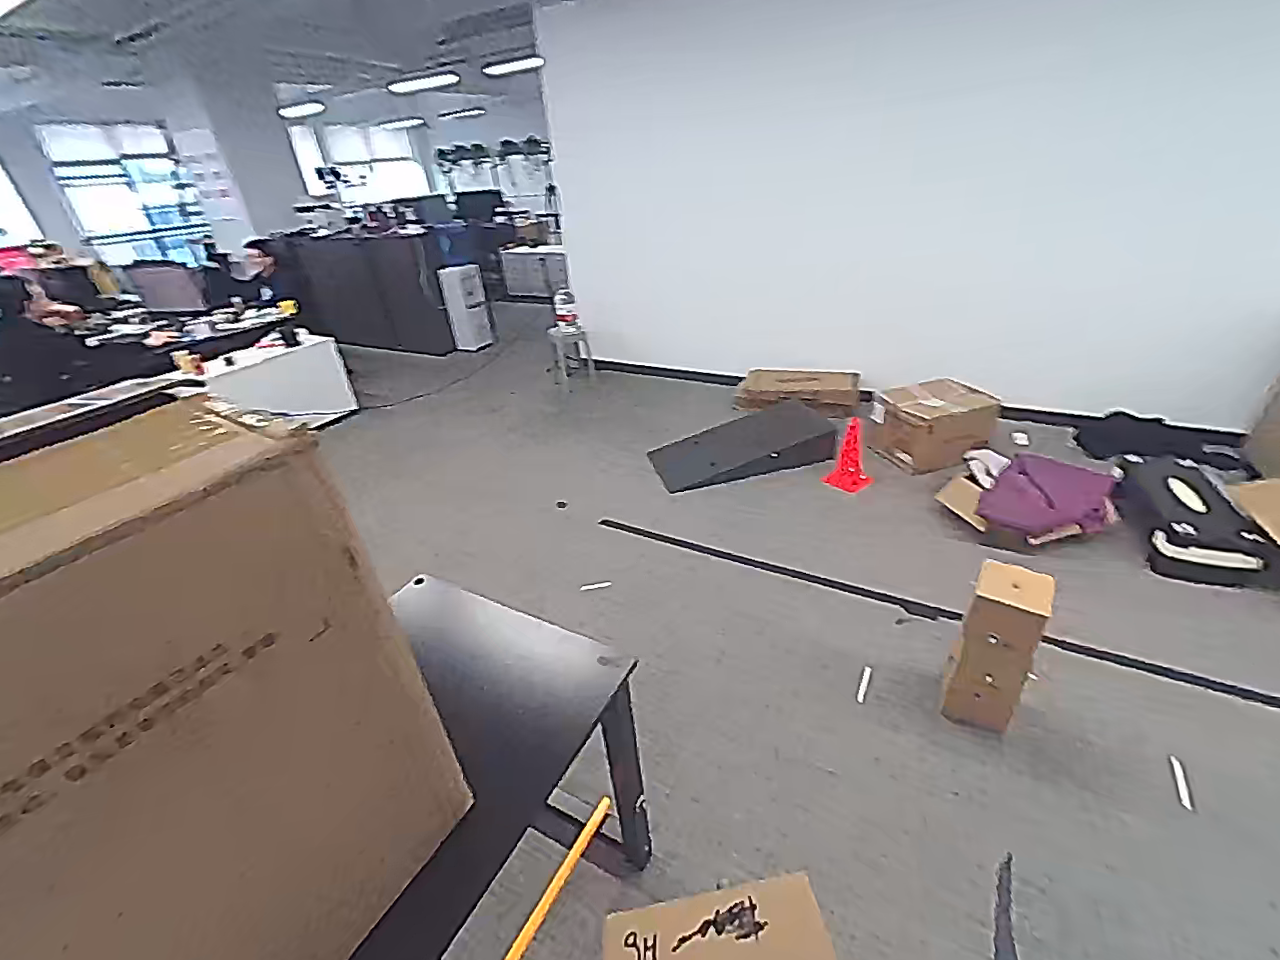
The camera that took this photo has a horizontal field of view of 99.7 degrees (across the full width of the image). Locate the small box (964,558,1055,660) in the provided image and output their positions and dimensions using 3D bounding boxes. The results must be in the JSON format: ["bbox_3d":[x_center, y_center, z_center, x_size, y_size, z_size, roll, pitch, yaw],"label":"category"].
[{"bbox_3d":[1.005,0.350,1.477,0.168,0.176,0.179,16,38,33],"label":"small box"}]

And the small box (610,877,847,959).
[{"bbox_3d":[0.077,0.429,0.385,0.168,0.176,0.179,-10,34,-3],"label":"small box"}]

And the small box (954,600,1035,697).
[{"bbox_3d":[1.022,0.486,1.564,0.168,0.176,0.179,13,36,28],"label":"small box"}]

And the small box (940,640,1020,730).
[{"bbox_3d":[1.030,0.626,1.650,0.179,0.176,0.168,11,35,24],"label":"small box"}]
